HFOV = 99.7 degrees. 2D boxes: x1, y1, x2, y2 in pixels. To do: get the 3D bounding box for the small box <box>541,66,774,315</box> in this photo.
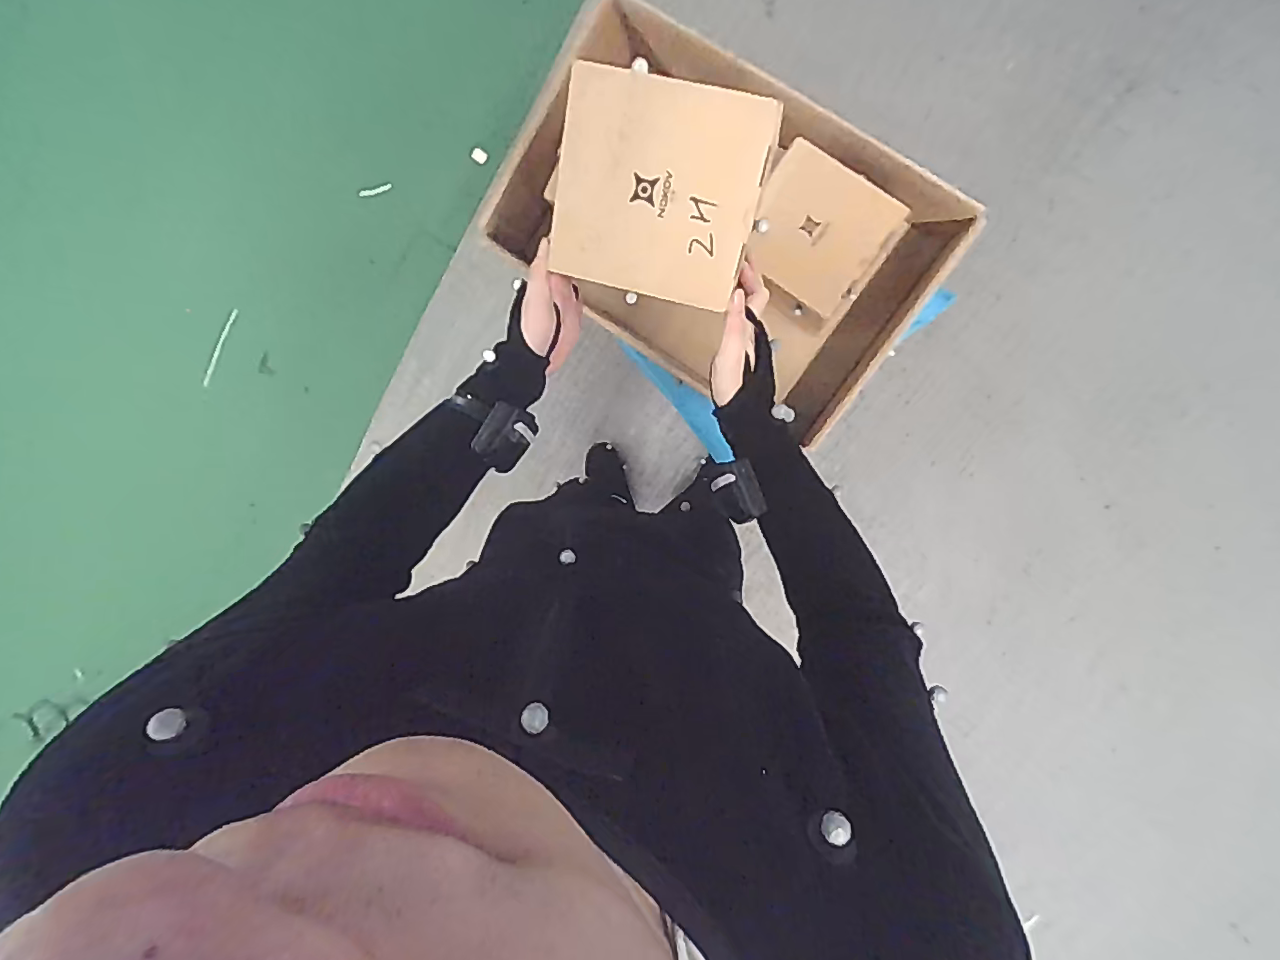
[{"bbox_3d":[0.022,-0.272,0.535,0.179,0.176,0.168,15,116,5],"label":"small box"}]
